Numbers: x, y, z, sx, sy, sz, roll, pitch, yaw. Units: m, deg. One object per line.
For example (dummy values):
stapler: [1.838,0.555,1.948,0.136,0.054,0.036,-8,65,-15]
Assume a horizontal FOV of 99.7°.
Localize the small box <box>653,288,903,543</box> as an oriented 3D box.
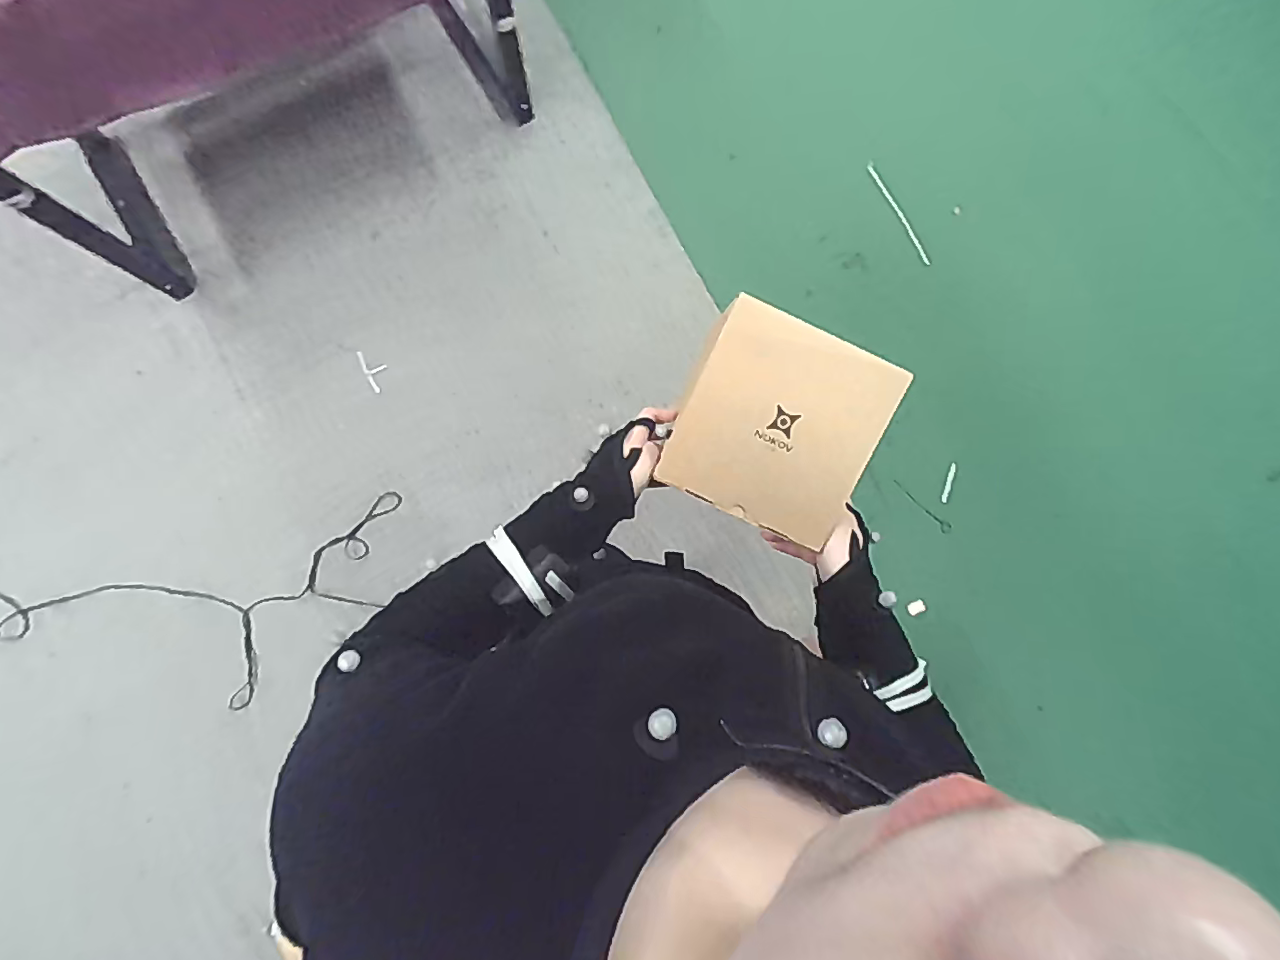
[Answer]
small box: [0.119,-0.066,0.547,0.168,0.176,0.179,24,100,-2]
